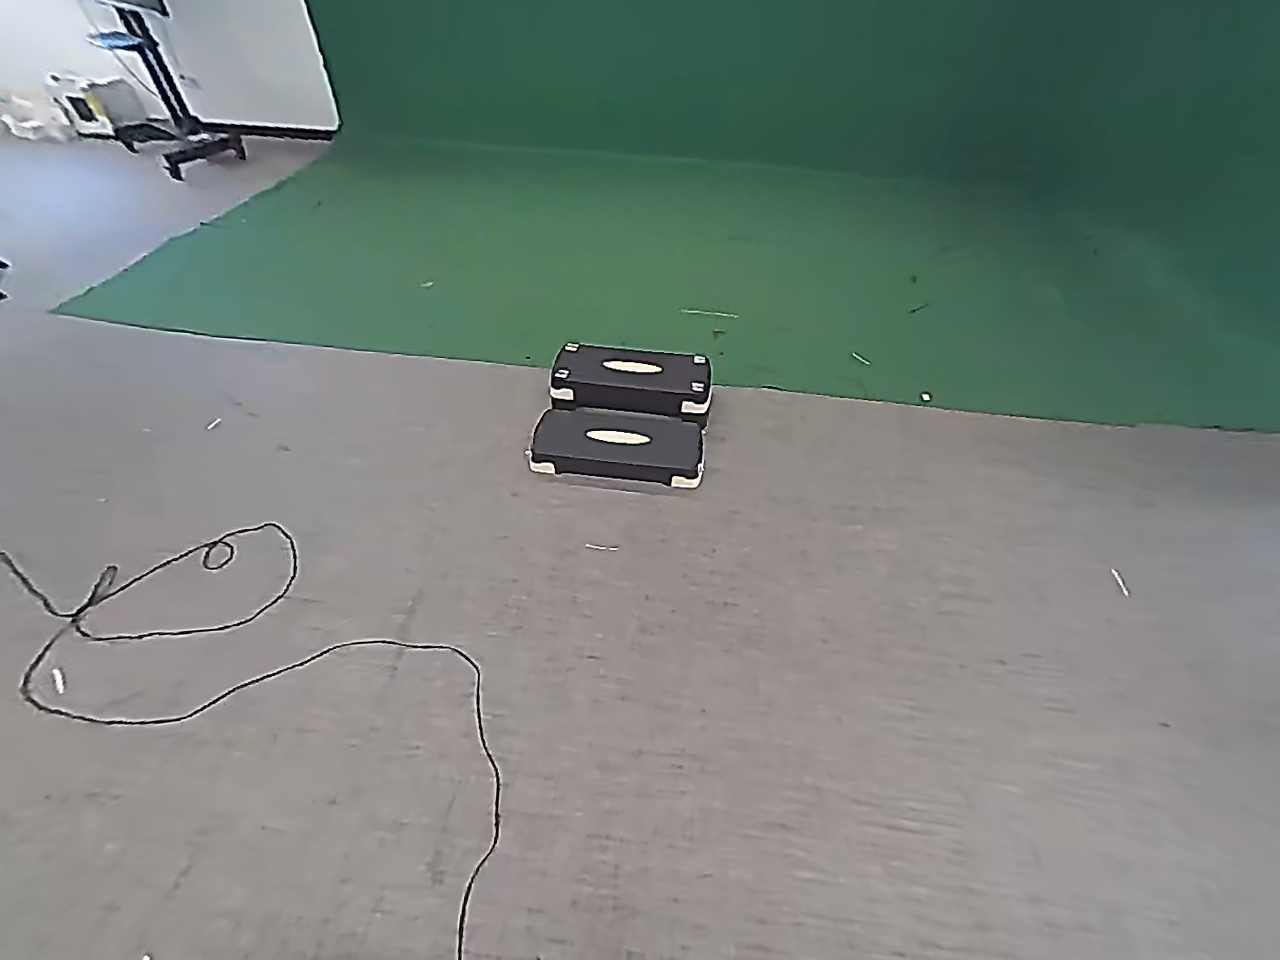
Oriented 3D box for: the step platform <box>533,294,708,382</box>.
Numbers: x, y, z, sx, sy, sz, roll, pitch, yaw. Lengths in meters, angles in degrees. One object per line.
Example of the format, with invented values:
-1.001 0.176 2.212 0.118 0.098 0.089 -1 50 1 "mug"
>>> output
-0.075 -0.578 2.203 0.684 0.204 0.286 6 47 4 "step platform"
